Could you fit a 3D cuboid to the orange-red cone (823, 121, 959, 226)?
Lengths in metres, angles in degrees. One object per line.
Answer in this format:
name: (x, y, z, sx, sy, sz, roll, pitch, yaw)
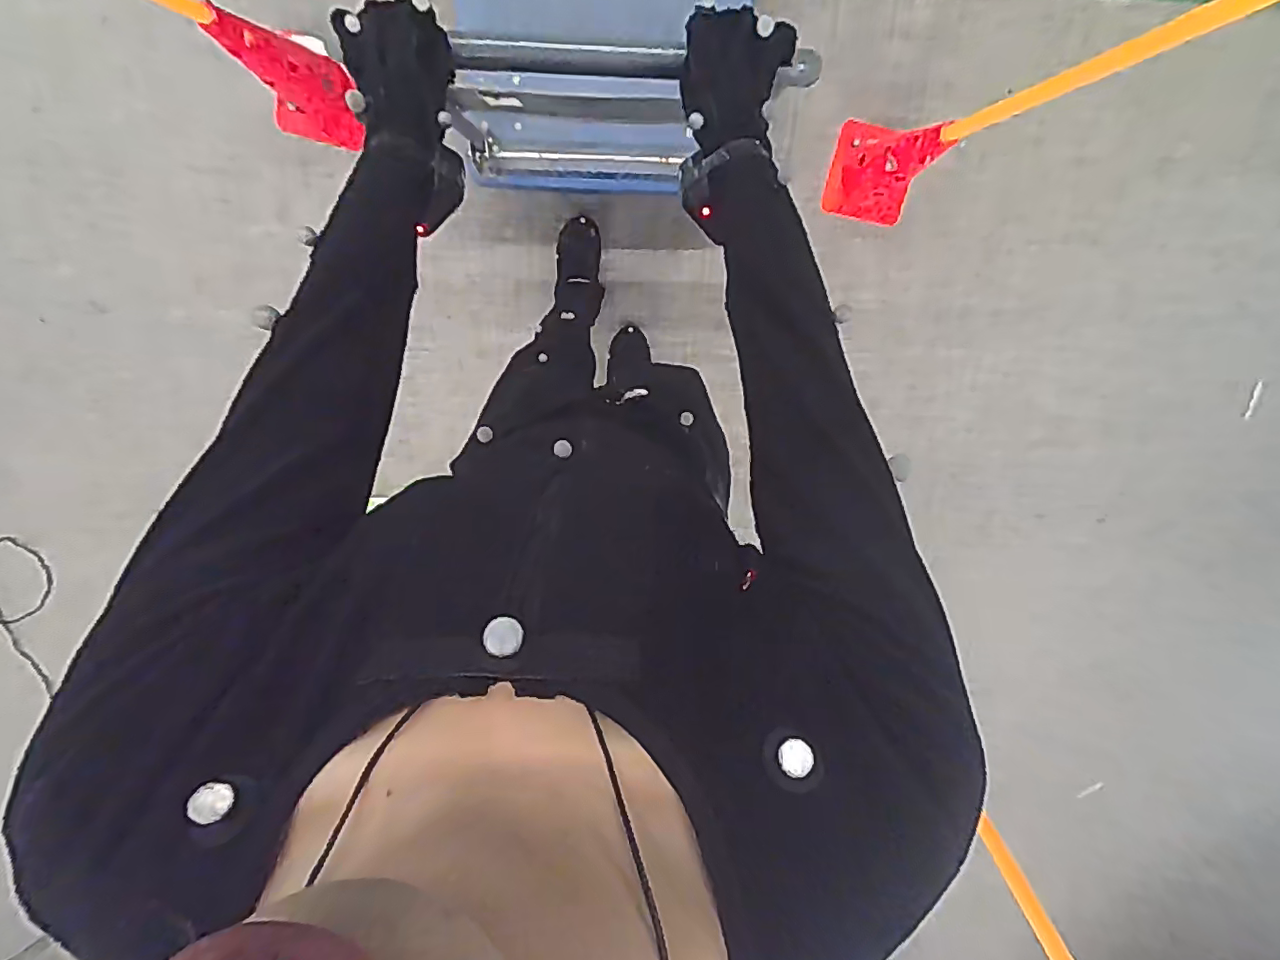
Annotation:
orange-red cone: (0.553, -0.671, 1.128, 0.198, 0.360, 0.199, 12, 109, -4)
